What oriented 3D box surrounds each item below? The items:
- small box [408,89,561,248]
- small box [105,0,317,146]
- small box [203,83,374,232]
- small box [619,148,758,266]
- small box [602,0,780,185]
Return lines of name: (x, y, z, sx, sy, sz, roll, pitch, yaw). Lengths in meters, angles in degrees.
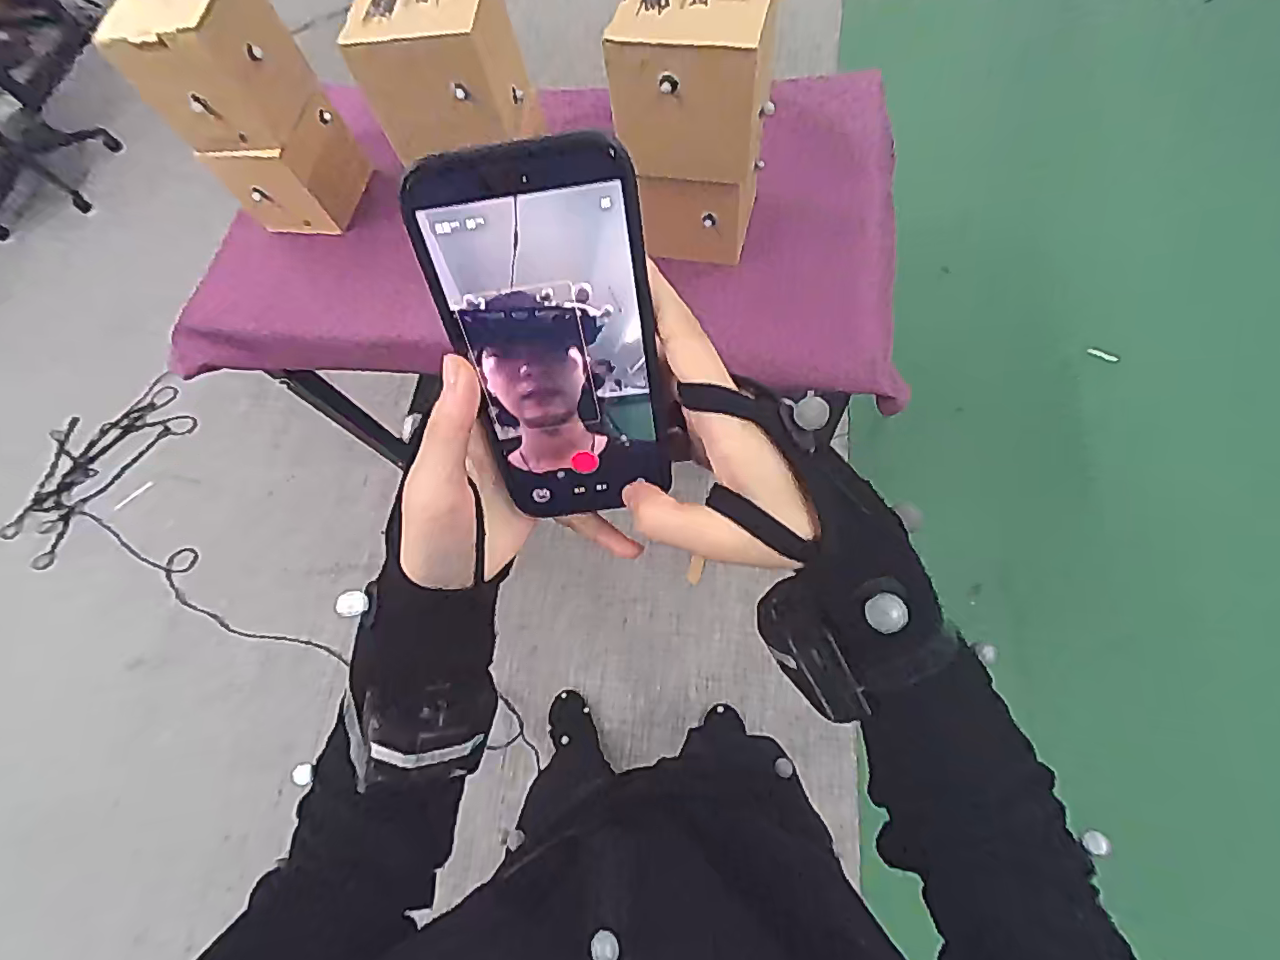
small box: (-0.246, -0.515, 0.909, 0.179, 0.176, 0.168, 7, 69, 10)
small box: (-0.643, -0.648, 0.838, 0.168, 0.176, 0.179, 3, 69, 8)
small box: (-0.624, -0.580, 0.986, 0.168, 0.176, 0.179, 7, 69, 10)
small box: (0.085, -0.462, 0.845, 0.179, 0.176, 0.168, 13, 70, 13)
small box: (0.070, -0.507, 0.688, 0.179, 0.176, 0.168, 13, 70, 12)
